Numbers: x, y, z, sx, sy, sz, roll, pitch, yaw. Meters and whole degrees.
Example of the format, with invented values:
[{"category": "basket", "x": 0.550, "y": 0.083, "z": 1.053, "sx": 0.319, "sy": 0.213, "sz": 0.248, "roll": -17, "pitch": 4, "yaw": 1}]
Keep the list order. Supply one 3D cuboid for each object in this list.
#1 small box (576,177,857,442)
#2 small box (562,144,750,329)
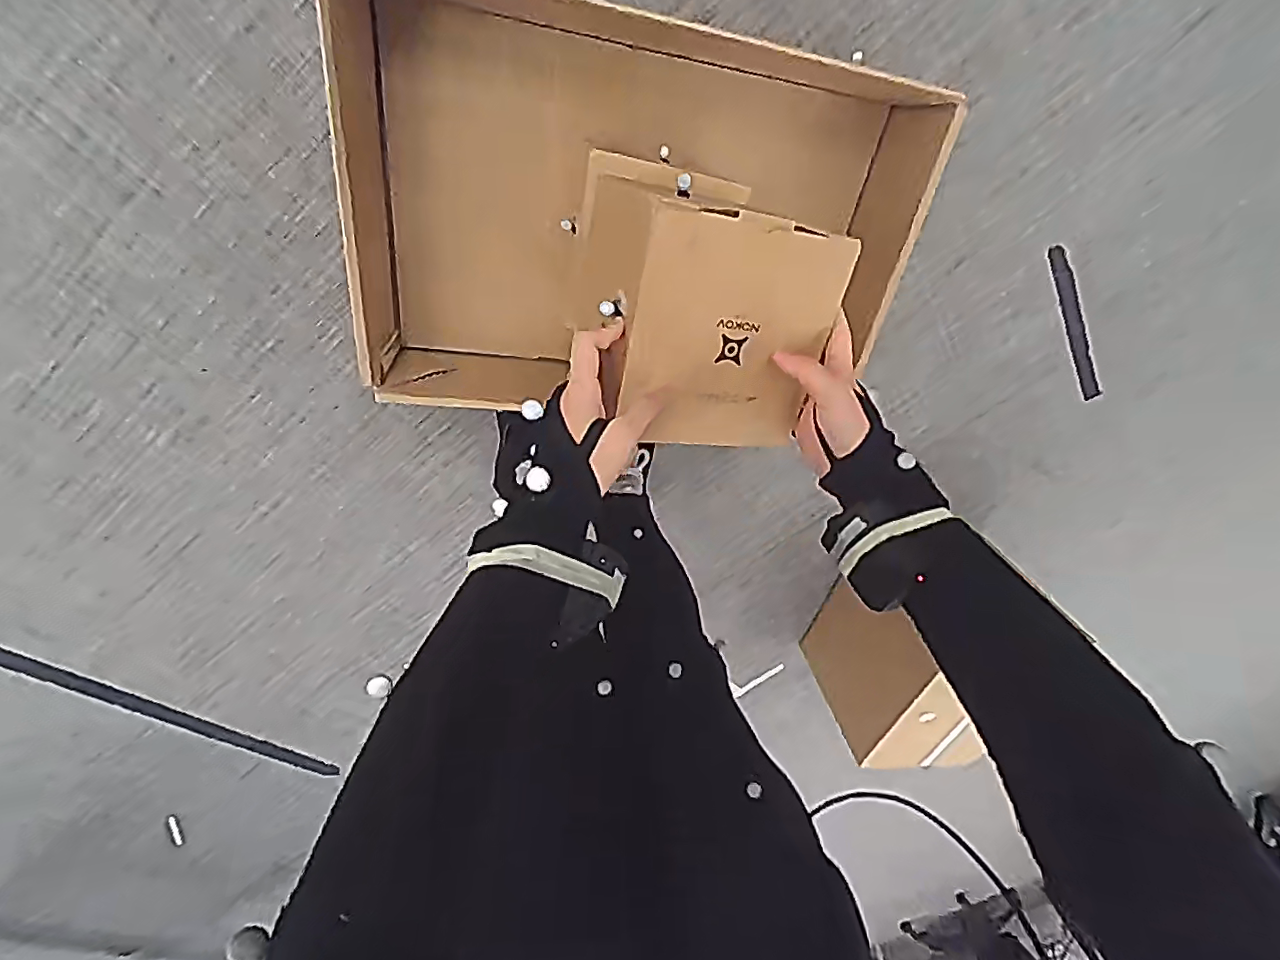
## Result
[{"category": "small box", "x": 0.046, "y": -0.151, "z": 0.477, "sx": 0.168, "sy": 0.176, "sz": 0.179, "roll": 1, "pitch": 123, "yaw": -21}, {"category": "small box", "x": 0.002, "y": -0.275, "z": 0.631, "sx": 0.168, "sy": 0.176, "sz": 0.179, "roll": 5, "pitch": 123, "yaw": -15}]
